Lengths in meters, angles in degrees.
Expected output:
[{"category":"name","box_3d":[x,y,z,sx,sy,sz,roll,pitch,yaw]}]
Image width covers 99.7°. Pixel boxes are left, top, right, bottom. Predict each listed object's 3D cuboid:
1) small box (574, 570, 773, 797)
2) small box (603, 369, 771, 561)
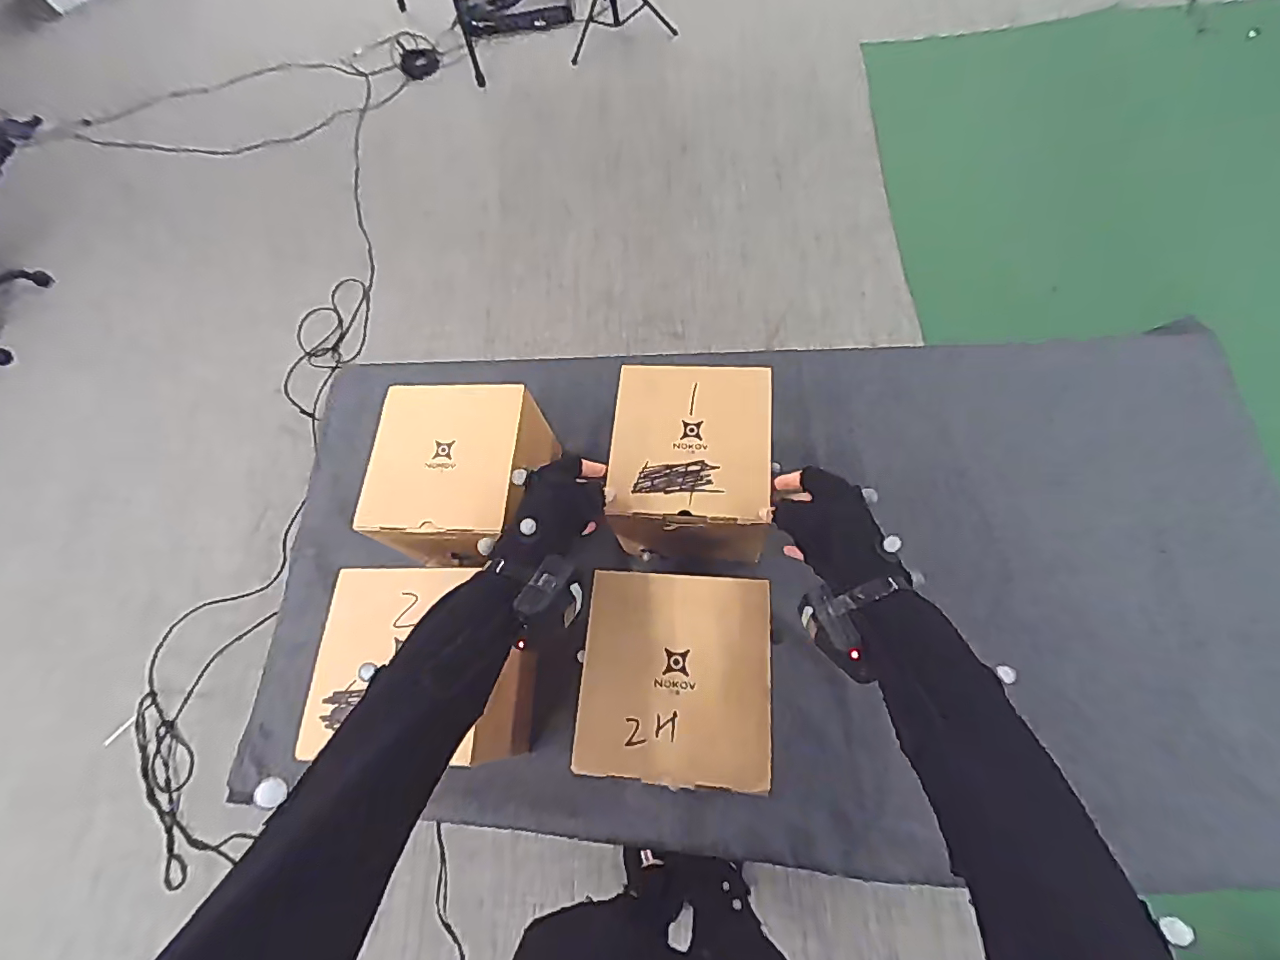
[{"category":"small box","box_3d":[0.040,0.201,0.546,0.168,0.176,0.179,2,68,8]},{"category":"small box","box_3d":[0.061,-0.010,0.632,0.168,0.176,0.179,3,68,8]}]
